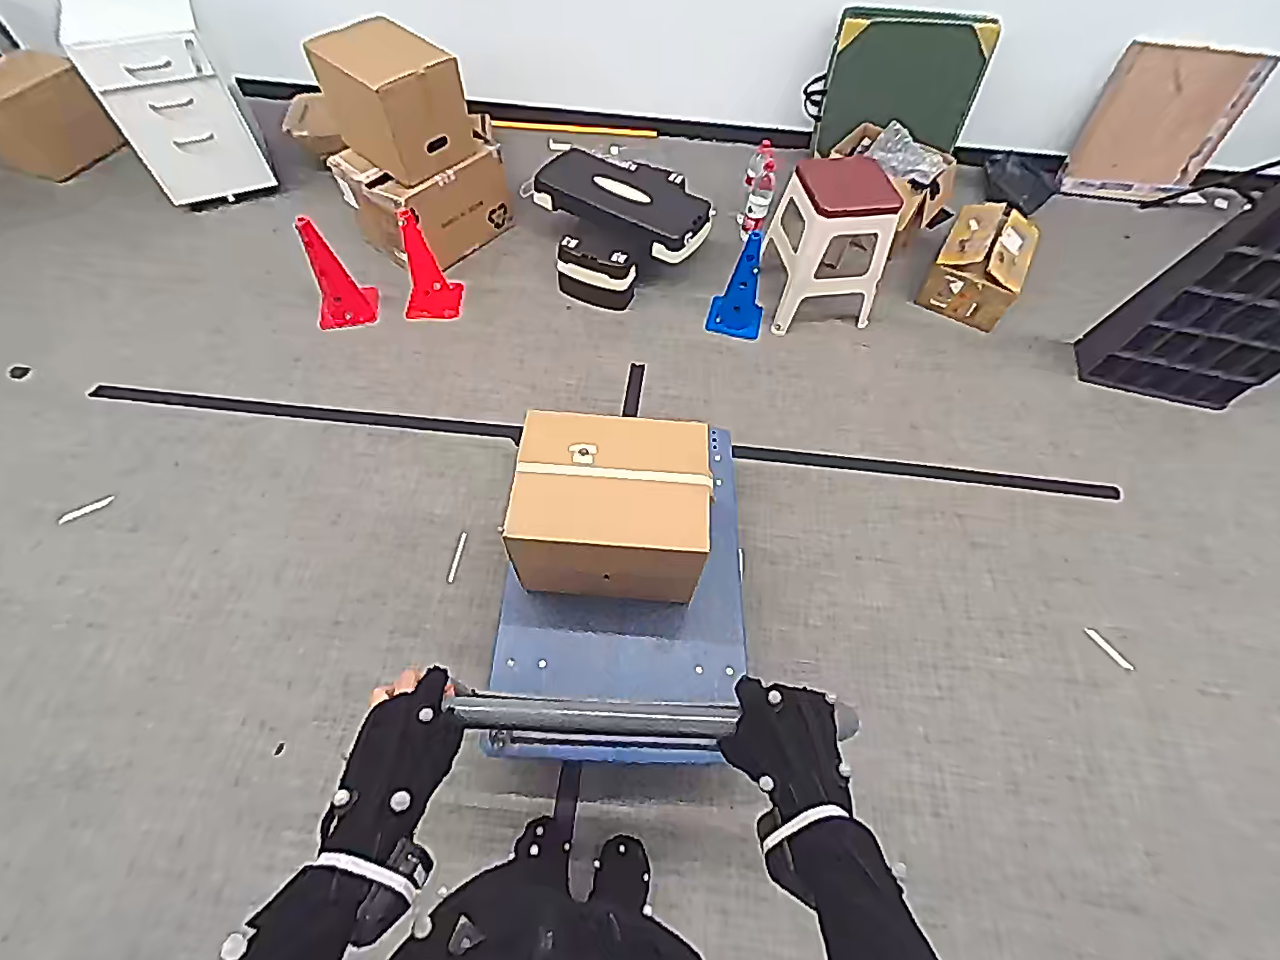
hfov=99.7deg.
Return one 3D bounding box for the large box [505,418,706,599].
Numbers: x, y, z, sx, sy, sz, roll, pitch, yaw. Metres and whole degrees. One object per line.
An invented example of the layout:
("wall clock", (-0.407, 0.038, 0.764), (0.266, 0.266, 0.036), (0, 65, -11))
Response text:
("large box", (-0.063, 0.077, 1.264), (0.408, 0.320, 0.320), (4, 59, 0))
